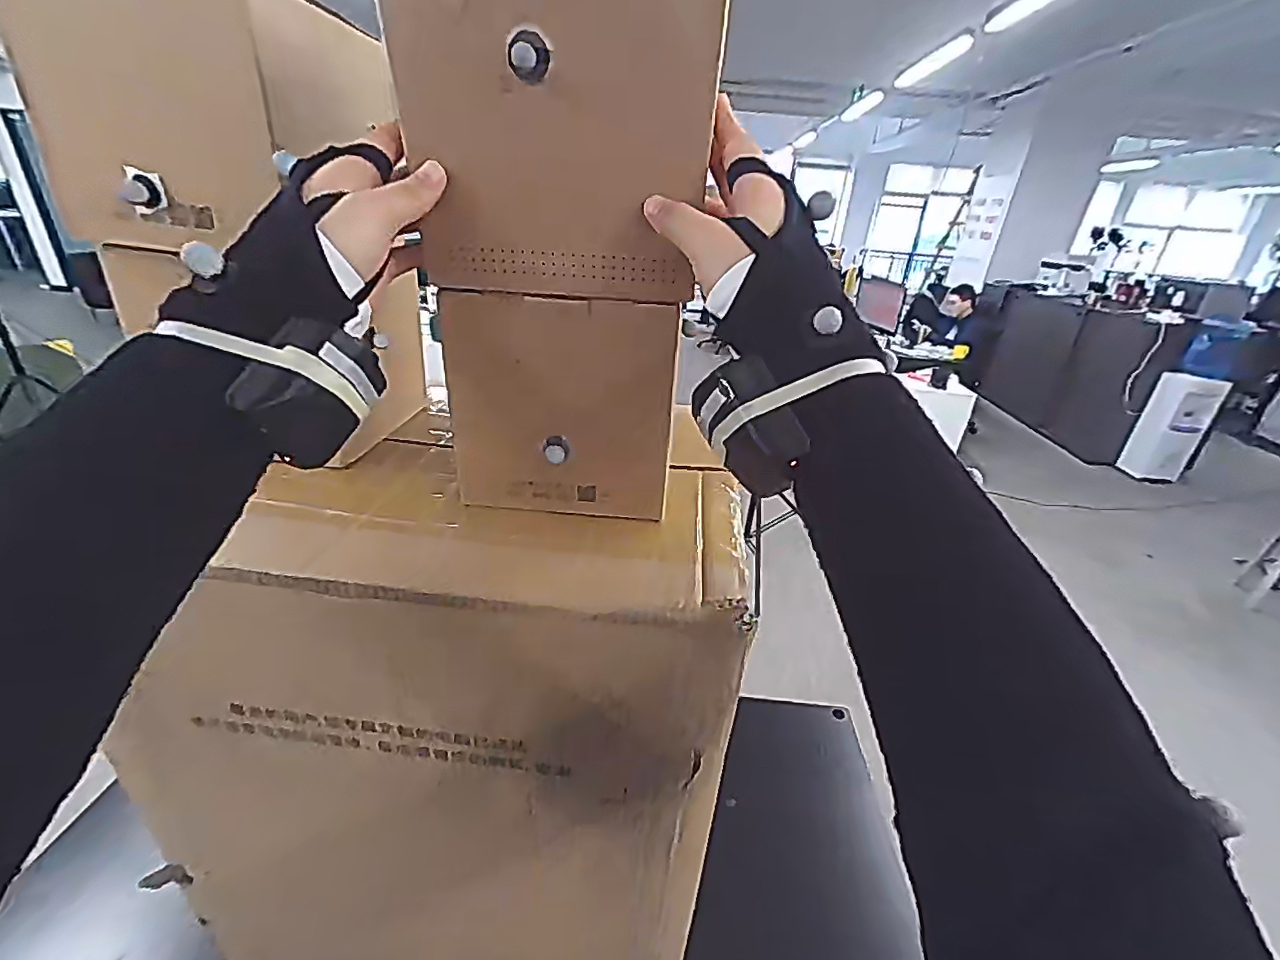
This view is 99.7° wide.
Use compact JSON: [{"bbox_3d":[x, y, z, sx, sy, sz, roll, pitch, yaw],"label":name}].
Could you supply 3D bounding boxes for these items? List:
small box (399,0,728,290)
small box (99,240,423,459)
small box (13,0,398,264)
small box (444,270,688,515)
[{"bbox_3d":[-0.039,-0.237,0.365,0.179,0.176,0.168,4,37,1],"label":"small box"},{"bbox_3d":[-0.317,-0.131,0.504,0.168,0.176,0.179,7,27,1],"label":"small box"},{"bbox_3d":[-0.305,-0.271,0.419,0.168,0.176,0.179,5,27,0],"label":"small box"},{"bbox_3d":[-0.049,-0.089,0.465,0.168,0.176,0.179,5,27,3],"label":"small box"}]
